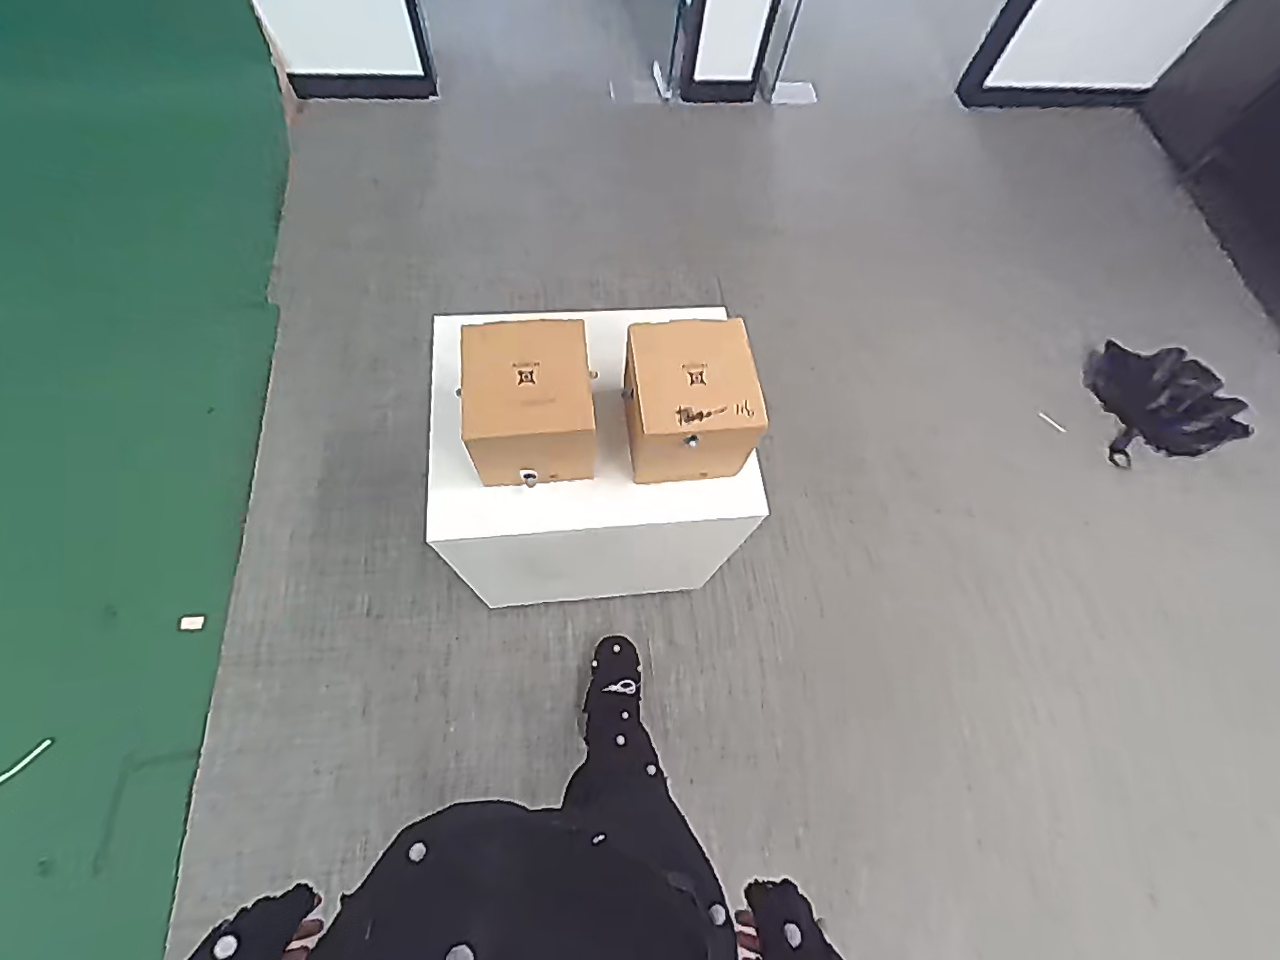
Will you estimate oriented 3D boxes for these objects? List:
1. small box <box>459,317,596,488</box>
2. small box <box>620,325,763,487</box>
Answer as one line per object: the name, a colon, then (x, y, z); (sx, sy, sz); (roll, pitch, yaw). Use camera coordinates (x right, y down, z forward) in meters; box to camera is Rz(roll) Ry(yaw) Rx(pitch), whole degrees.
small box: (-0.154, -0.104, 0.762); (0.168, 0.176, 0.179); (-6, 69, -7)
small box: (0.063, -0.105, 0.797); (0.168, 0.176, 0.179); (-4, 67, -7)
